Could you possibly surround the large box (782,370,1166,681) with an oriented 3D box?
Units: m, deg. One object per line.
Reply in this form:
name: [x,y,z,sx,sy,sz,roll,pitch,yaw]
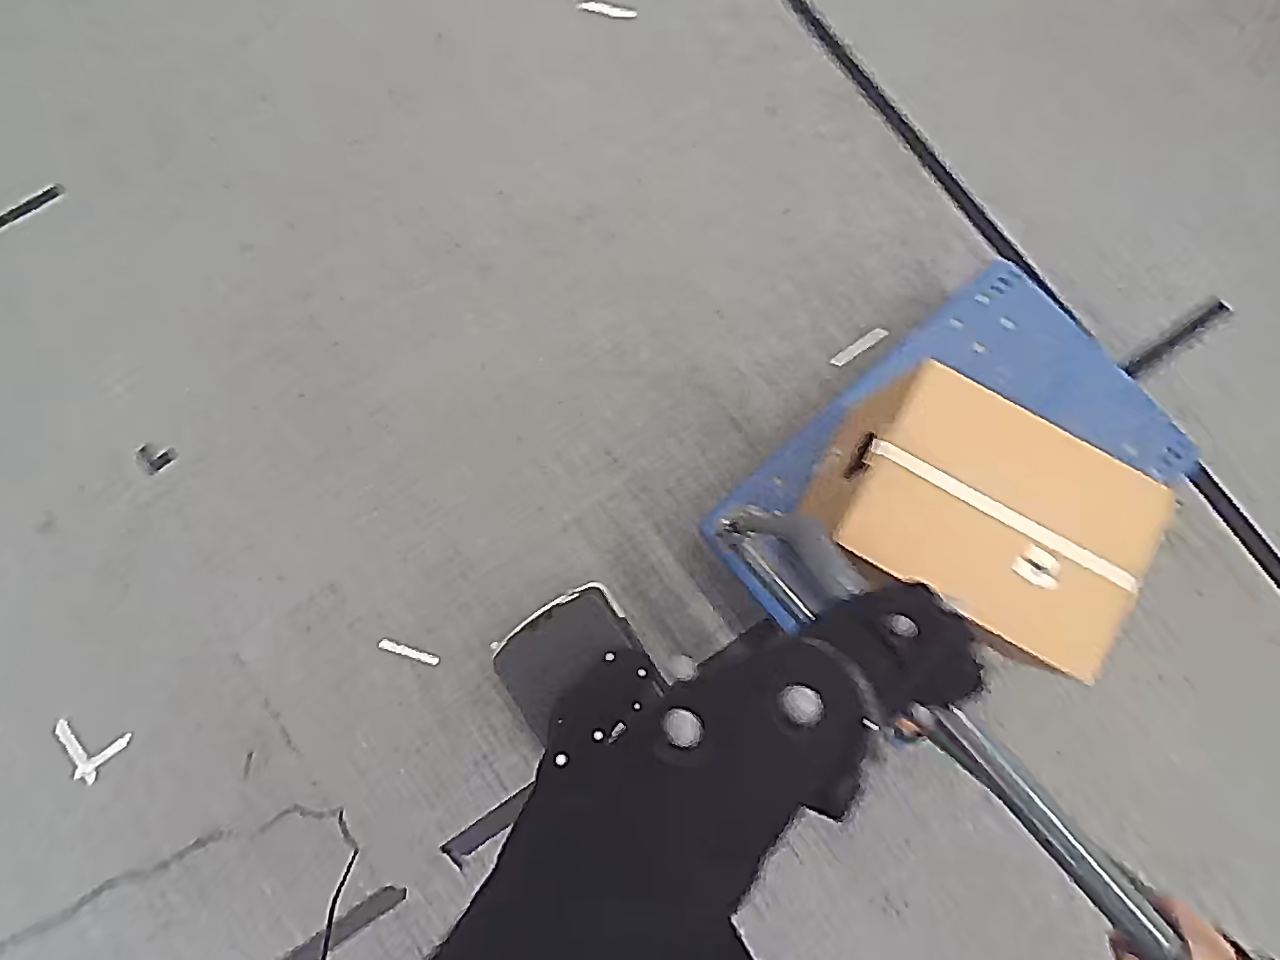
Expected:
large box: [0.524,0.075,0.931,0.408,0.320,0.320,30,85,2]
